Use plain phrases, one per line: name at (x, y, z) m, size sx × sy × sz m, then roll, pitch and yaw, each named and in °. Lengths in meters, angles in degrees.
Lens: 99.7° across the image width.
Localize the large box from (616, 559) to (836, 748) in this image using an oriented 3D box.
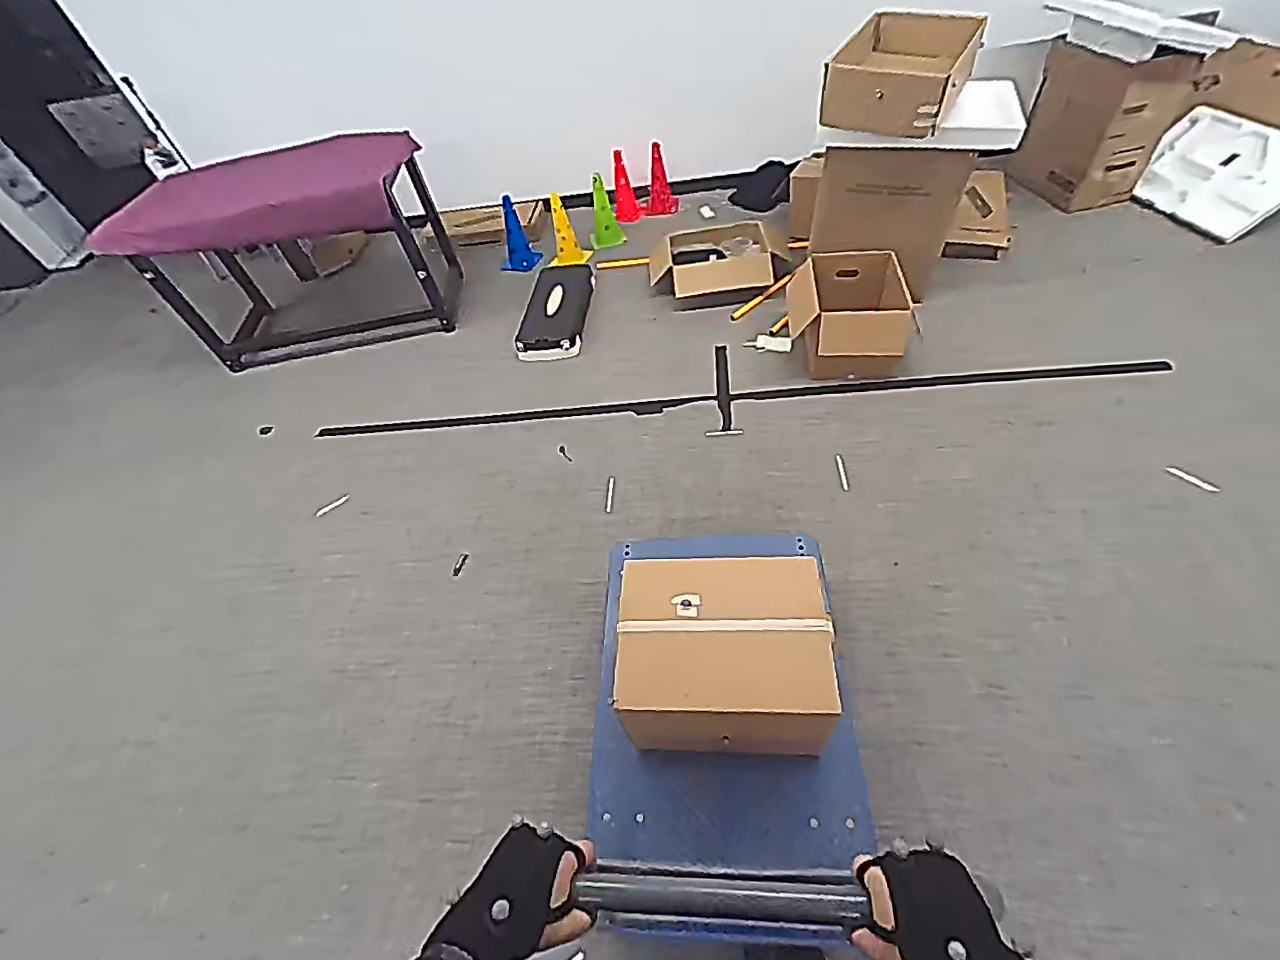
large box at (0.180, 0.390, 1.185) m, size 0.408 × 0.320 × 0.320 m, roll -3°, pitch 50°, yaw 9°
